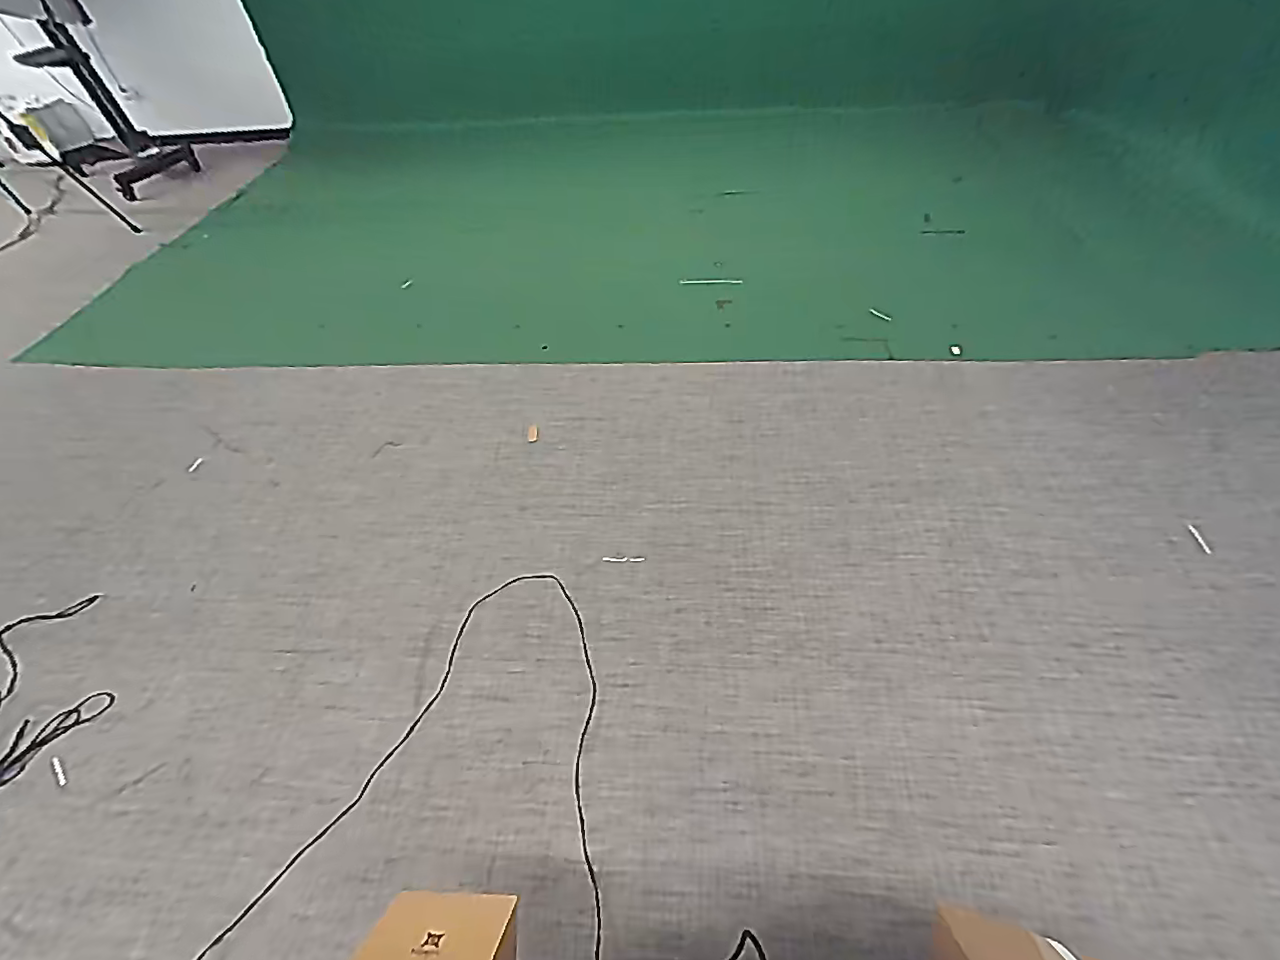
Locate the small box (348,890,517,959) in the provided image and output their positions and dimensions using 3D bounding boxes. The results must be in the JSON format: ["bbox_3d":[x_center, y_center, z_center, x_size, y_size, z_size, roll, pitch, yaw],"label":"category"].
[{"bbox_3d":[-0.253,0.636,0.642,0.168,0.179,0.176,0,86,3],"label":"small box"}]
